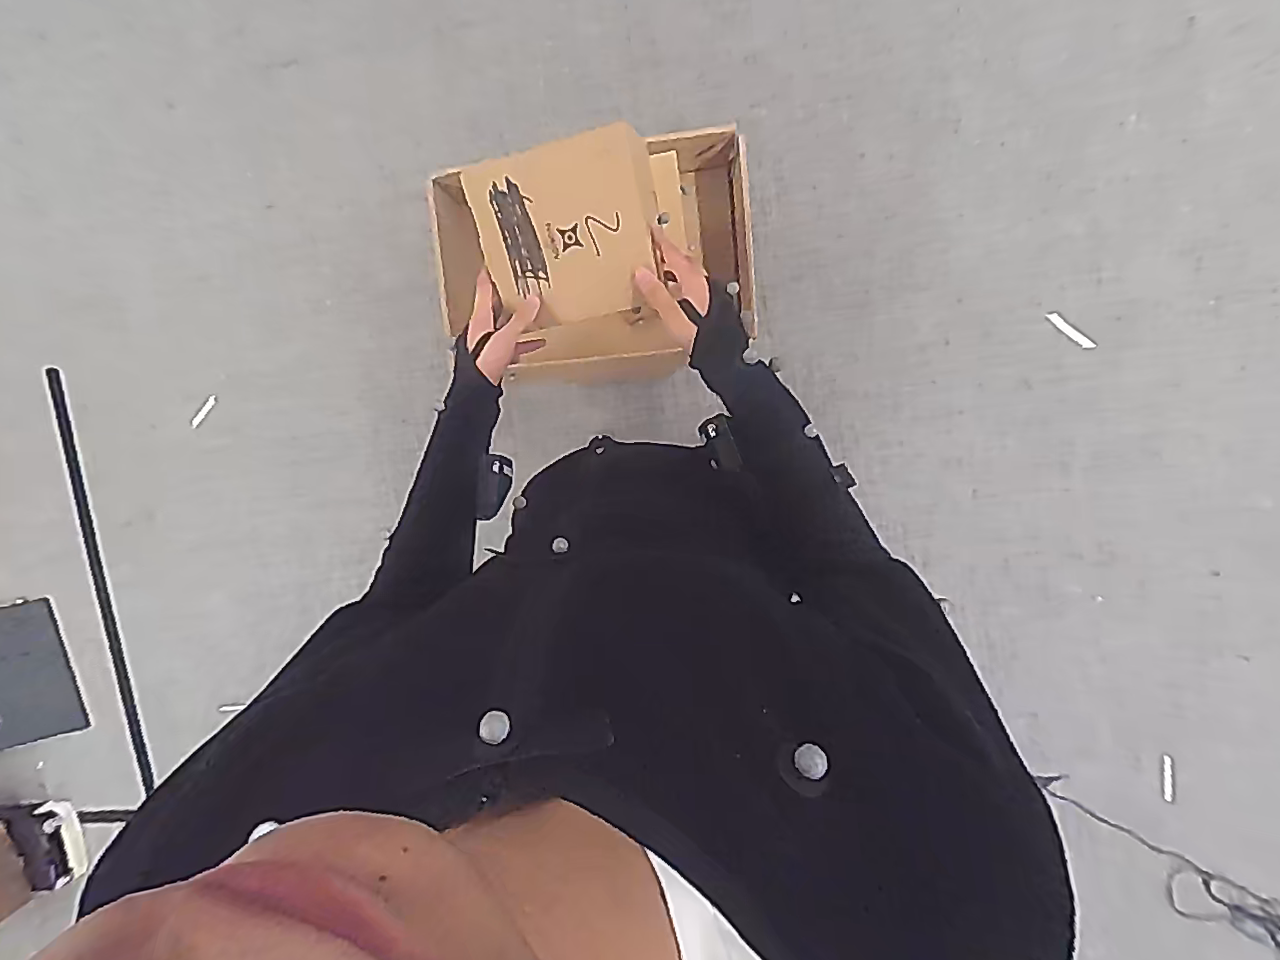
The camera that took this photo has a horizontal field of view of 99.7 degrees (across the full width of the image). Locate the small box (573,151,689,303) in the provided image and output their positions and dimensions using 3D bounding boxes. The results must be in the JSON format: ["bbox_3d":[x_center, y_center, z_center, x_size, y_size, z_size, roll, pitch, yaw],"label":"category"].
[{"bbox_3d":[-0.007,-0.417,0.919,0.168,0.176,0.179,-7,96,8],"label":"small box"}]
